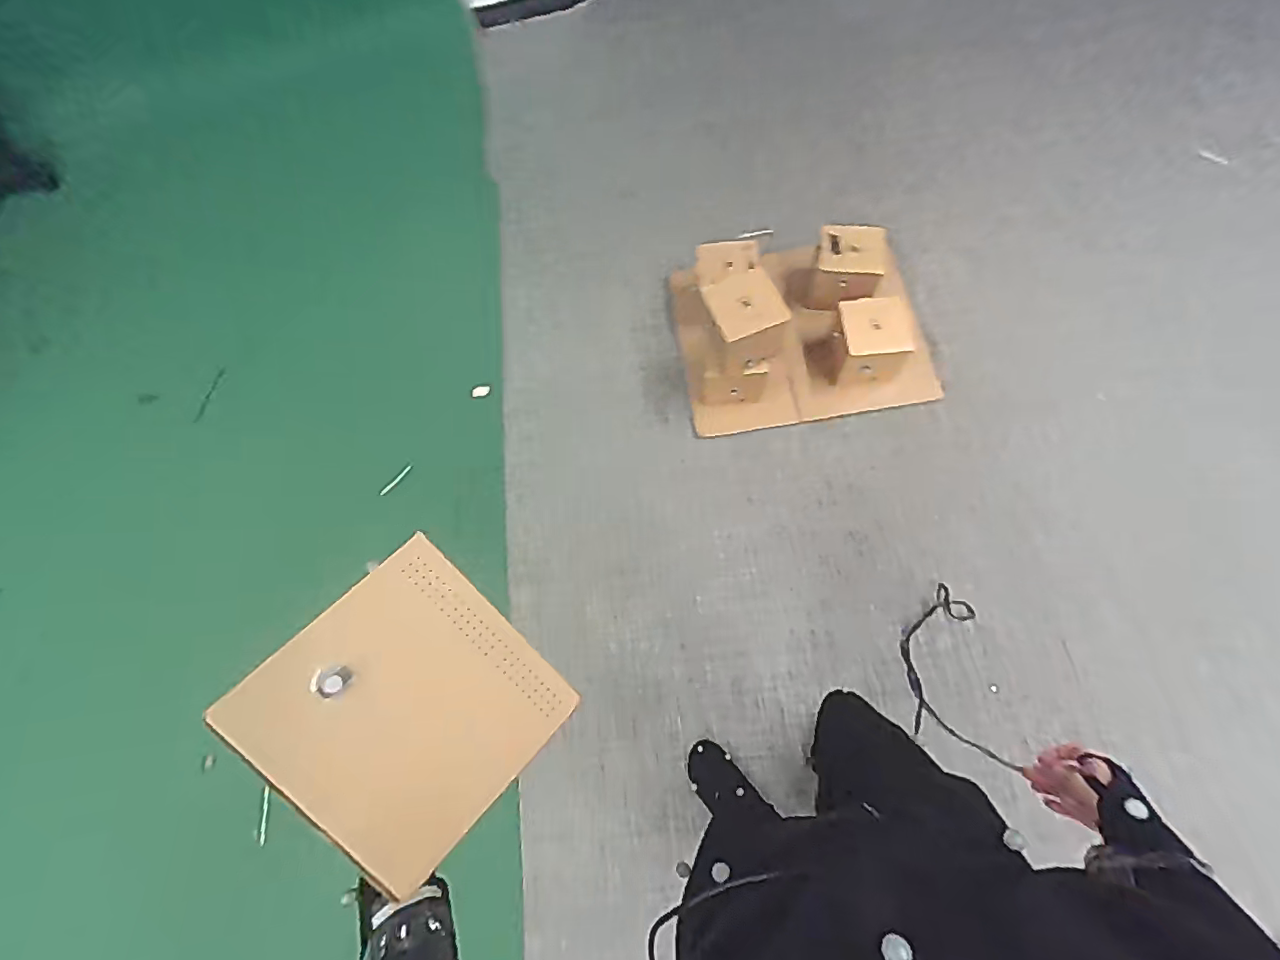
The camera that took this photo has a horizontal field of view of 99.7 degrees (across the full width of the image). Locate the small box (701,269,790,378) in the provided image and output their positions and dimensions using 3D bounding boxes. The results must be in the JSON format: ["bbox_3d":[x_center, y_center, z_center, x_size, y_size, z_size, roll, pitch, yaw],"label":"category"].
[{"bbox_3d":[0.259,-0.393,1.375,0.168,0.176,0.179,-21,68,0],"label":"small box"}]

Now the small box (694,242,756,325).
[{"bbox_3d":[0.256,-0.581,1.623,0.179,0.176,0.168,-3,69,7],"label":"small box"}]

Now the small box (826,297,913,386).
[{"bbox_3d":[0.626,-0.374,1.496,0.168,0.176,0.179,-5,68,5],"label":"small box"}]

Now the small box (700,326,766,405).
[{"bbox_3d":[0.260,-0.322,1.525,0.168,0.176,0.179,-4,69,5],"label":"small box"}]

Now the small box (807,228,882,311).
[{"bbox_3d":[0.595,-0.612,1.588,0.179,0.176,0.168,6,70,8],"label":"small box"}]
